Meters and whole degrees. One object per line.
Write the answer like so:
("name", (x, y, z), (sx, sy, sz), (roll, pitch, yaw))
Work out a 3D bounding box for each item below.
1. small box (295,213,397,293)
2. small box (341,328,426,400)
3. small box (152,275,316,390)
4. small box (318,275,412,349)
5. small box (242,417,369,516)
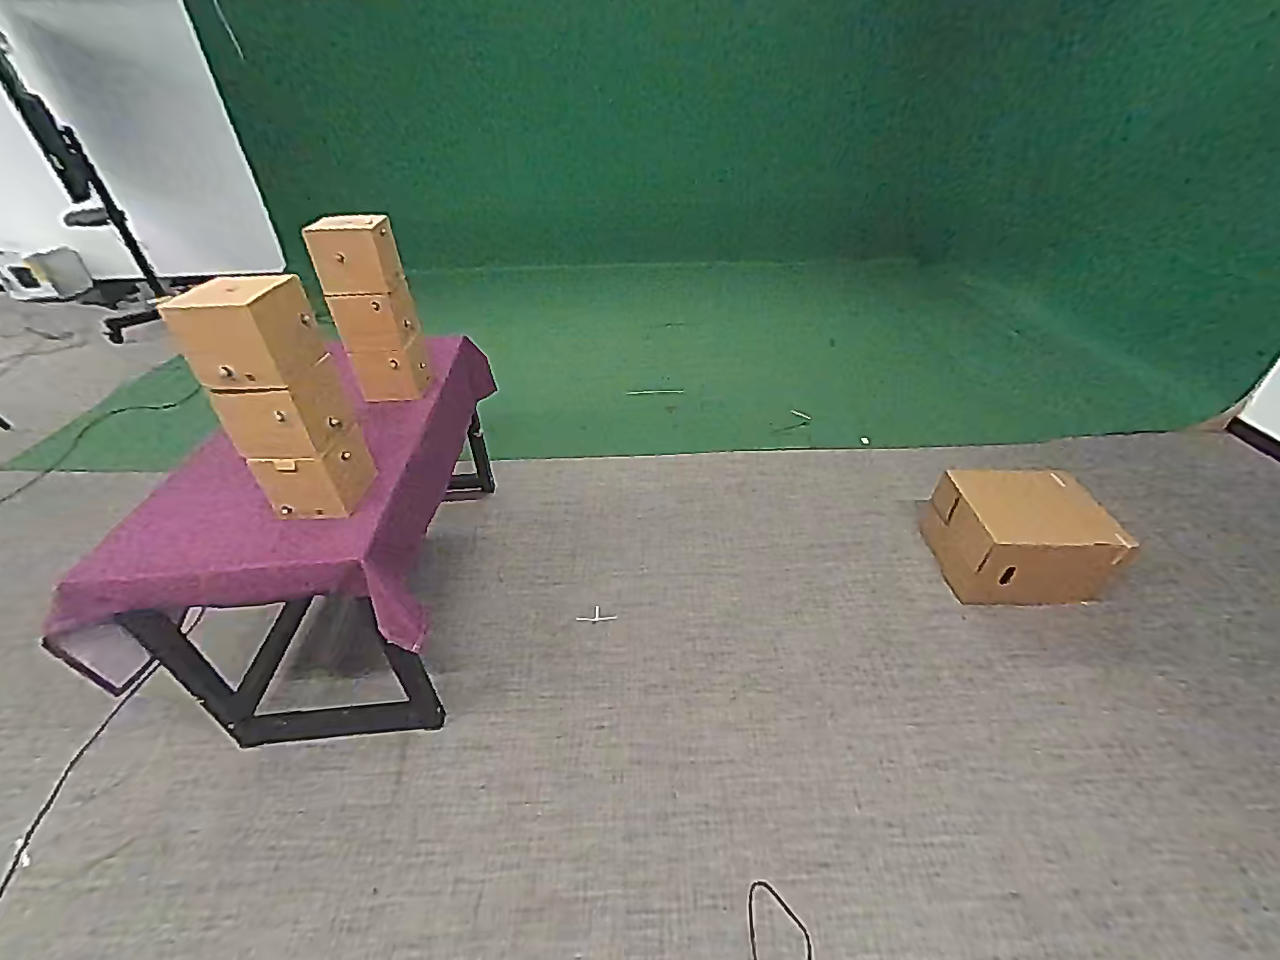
("small box", (-0.798, -0.624, 1.488), (0.179, 0.176, 0.168), (-5, 38, -4))
("small box", (-0.787, -0.361, 1.684), (0.179, 0.176, 0.168), (-3, 37, -2))
("small box", (-0.768, -0.289, 1.052), (0.168, 0.176, 0.179), (-1, 38, 1))
("small box", (-0.798, -0.493, 1.589), (0.179, 0.176, 0.168), (-2, 38, -2))
("small box", (-0.757, -0.028, 1.251), (0.168, 0.176, 0.179), (-2, 37, 0))
